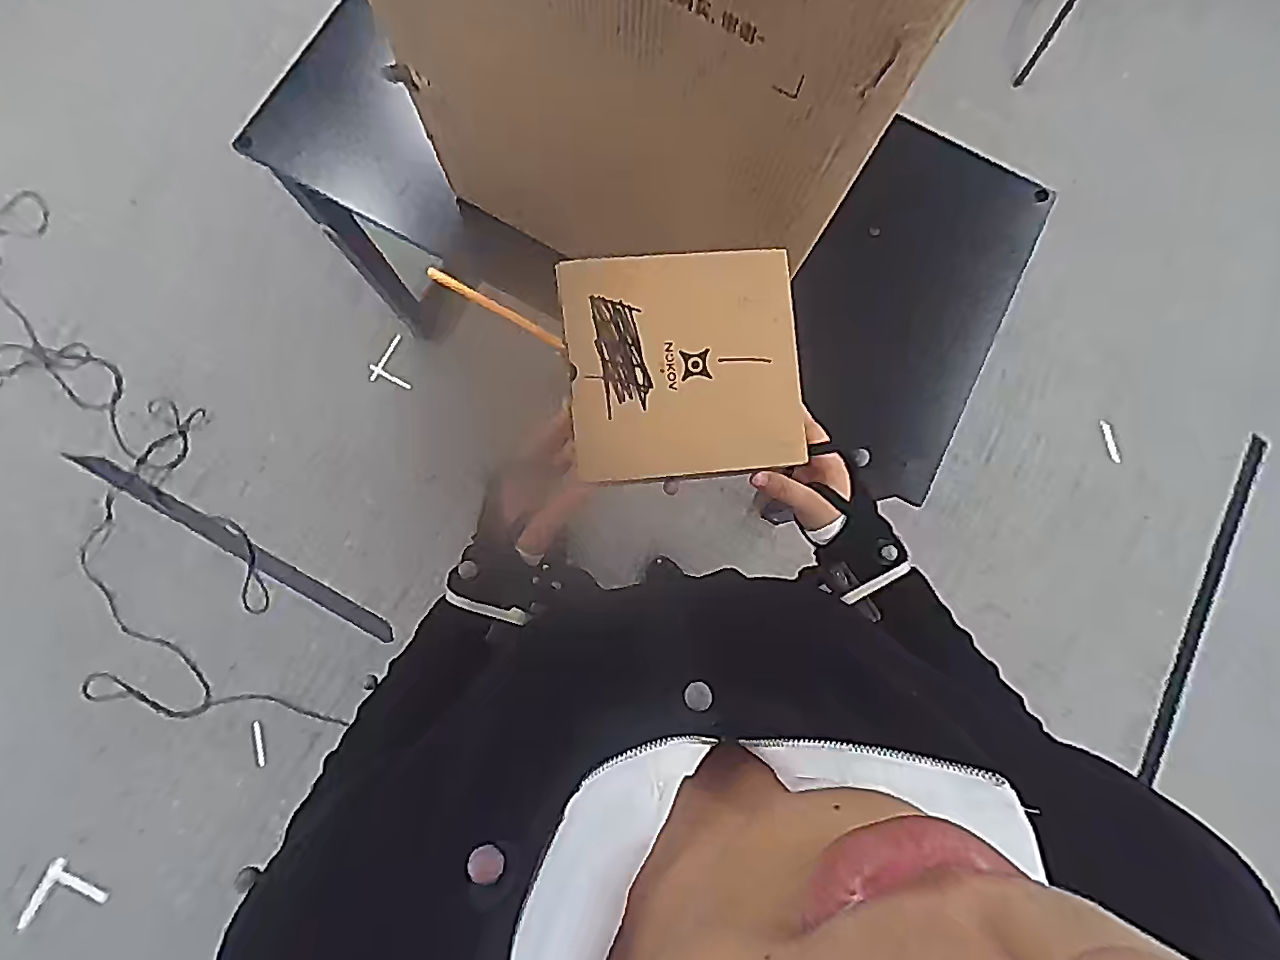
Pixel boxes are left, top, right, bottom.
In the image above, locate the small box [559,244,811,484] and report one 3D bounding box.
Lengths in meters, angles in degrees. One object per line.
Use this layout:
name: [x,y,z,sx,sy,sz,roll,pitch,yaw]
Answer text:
small box: [0.028,-0.085,0.471,0.179,0.176,0.168,-5,89,-5]
